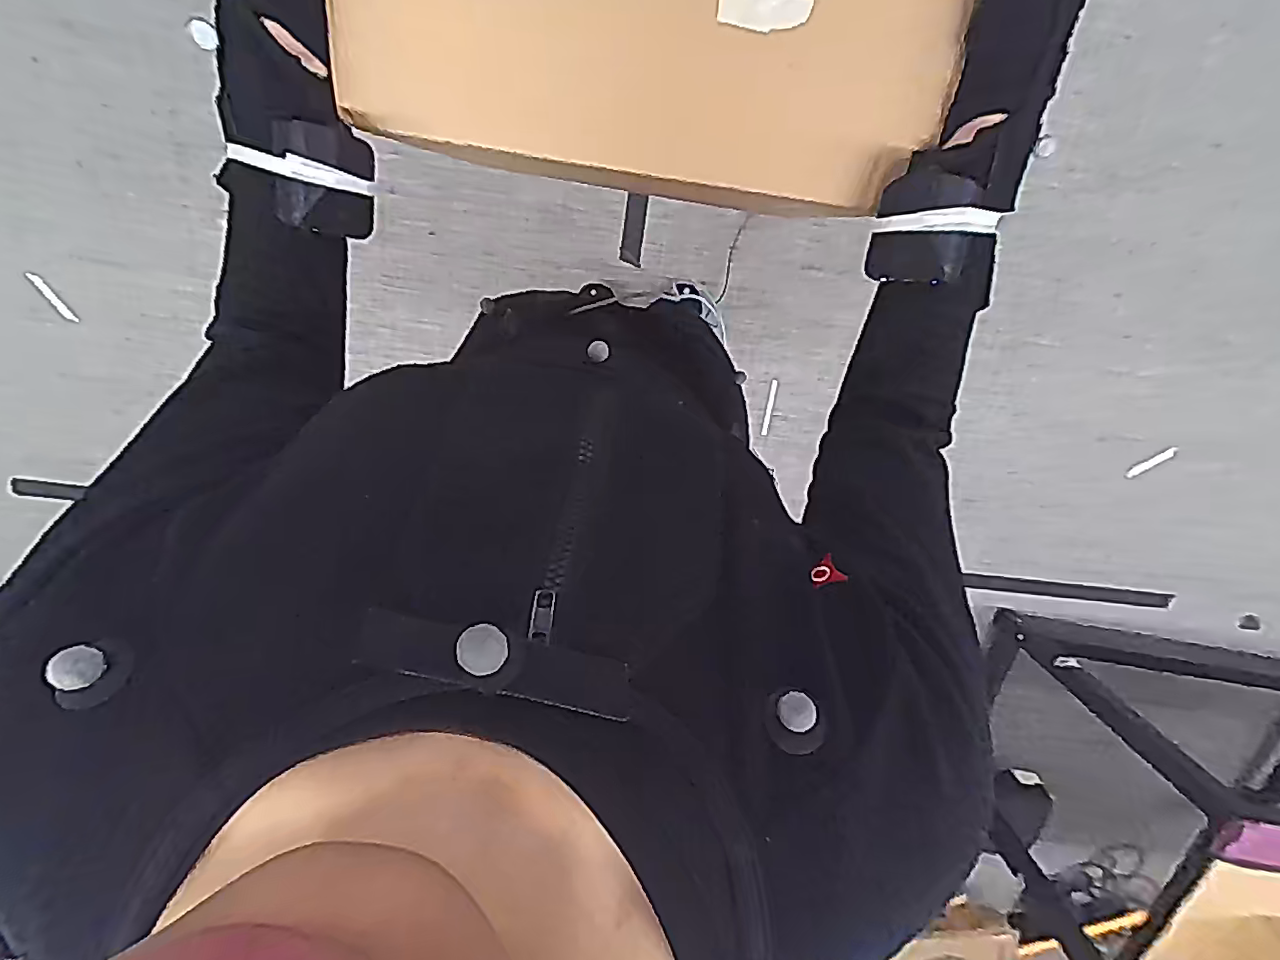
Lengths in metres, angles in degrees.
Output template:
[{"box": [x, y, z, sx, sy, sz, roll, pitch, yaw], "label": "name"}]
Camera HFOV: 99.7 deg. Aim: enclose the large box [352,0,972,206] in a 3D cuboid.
[{"box": [0.020, -0.428, 0.453, 0.408, 0.320, 0.320, 7, 117, -4], "label": "large box"}]
